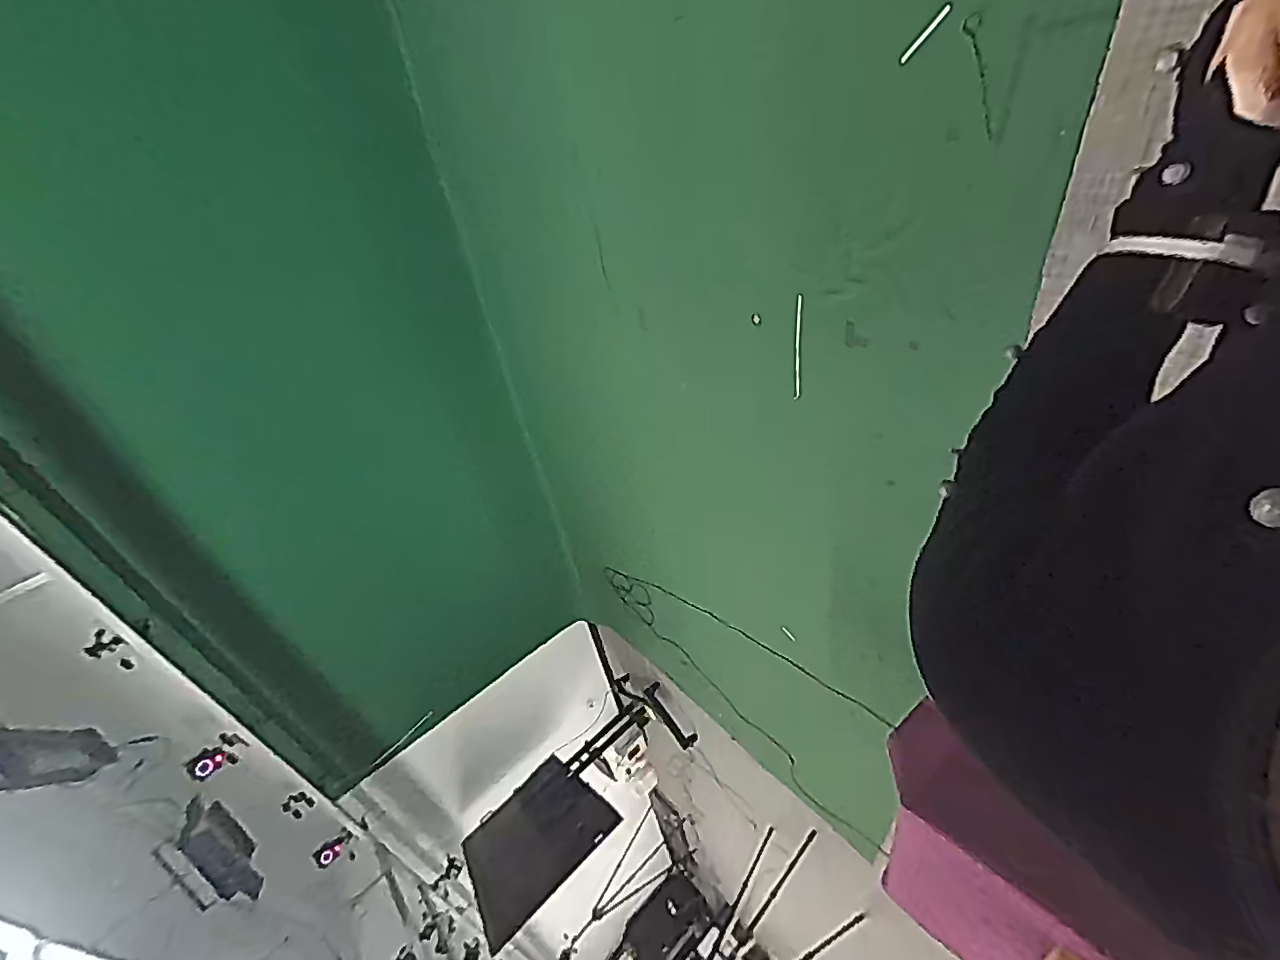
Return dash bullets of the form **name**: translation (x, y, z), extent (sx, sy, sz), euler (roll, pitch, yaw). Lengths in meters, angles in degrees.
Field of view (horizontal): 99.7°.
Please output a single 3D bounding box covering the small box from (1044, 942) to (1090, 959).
- **small box**: translation (0.932, 1.138, 1.138), extent (0.168, 0.176, 0.179), euler (28, 142, 41)
